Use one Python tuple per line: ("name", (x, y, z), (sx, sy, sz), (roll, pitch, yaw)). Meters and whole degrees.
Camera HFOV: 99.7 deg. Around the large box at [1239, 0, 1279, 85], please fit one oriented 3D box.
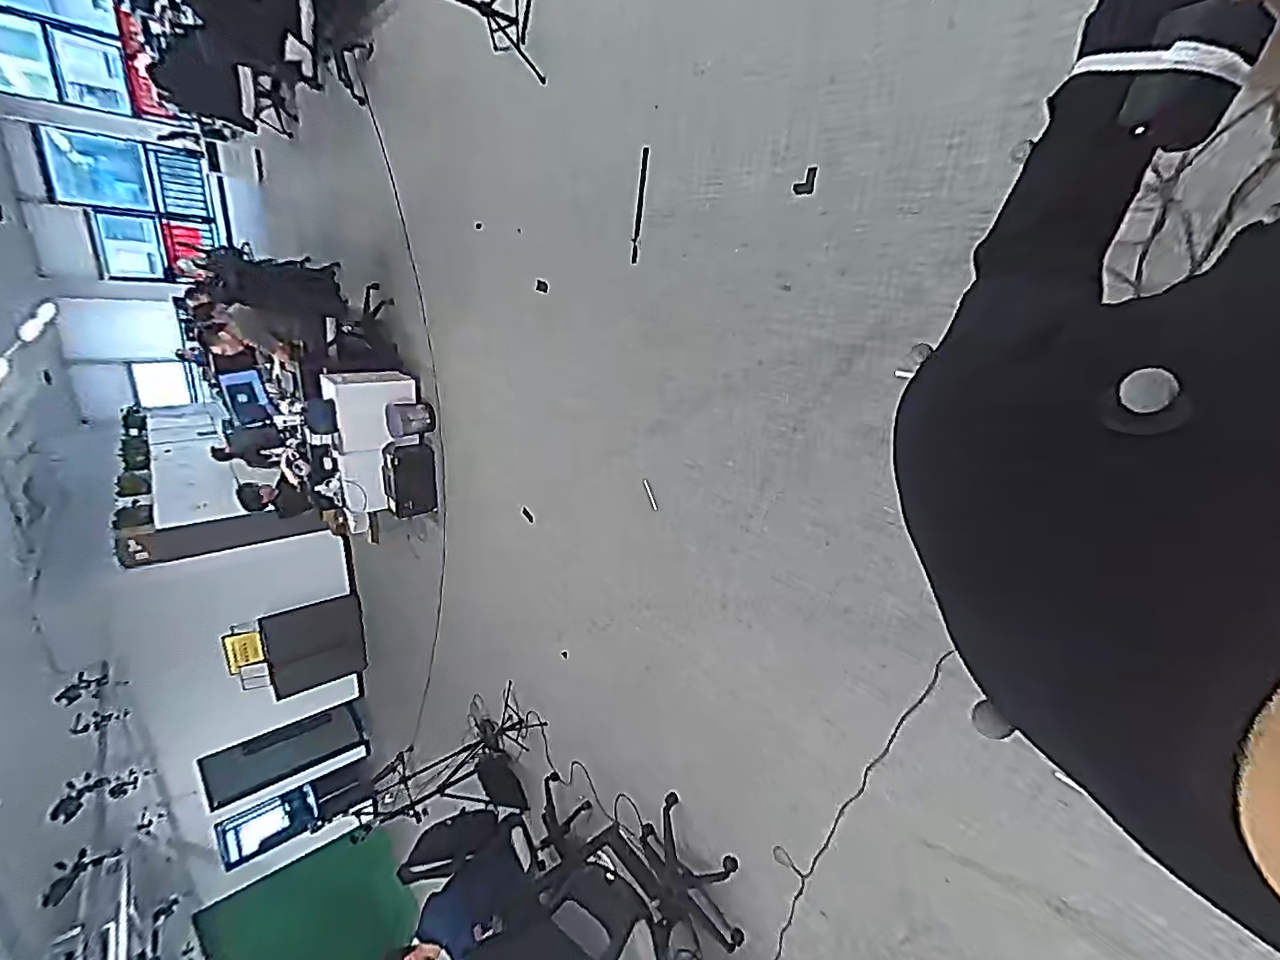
("large box", (0.608, -0.406, 0.231), (0.408, 0.320, 0.320), (26, 125, 39))
